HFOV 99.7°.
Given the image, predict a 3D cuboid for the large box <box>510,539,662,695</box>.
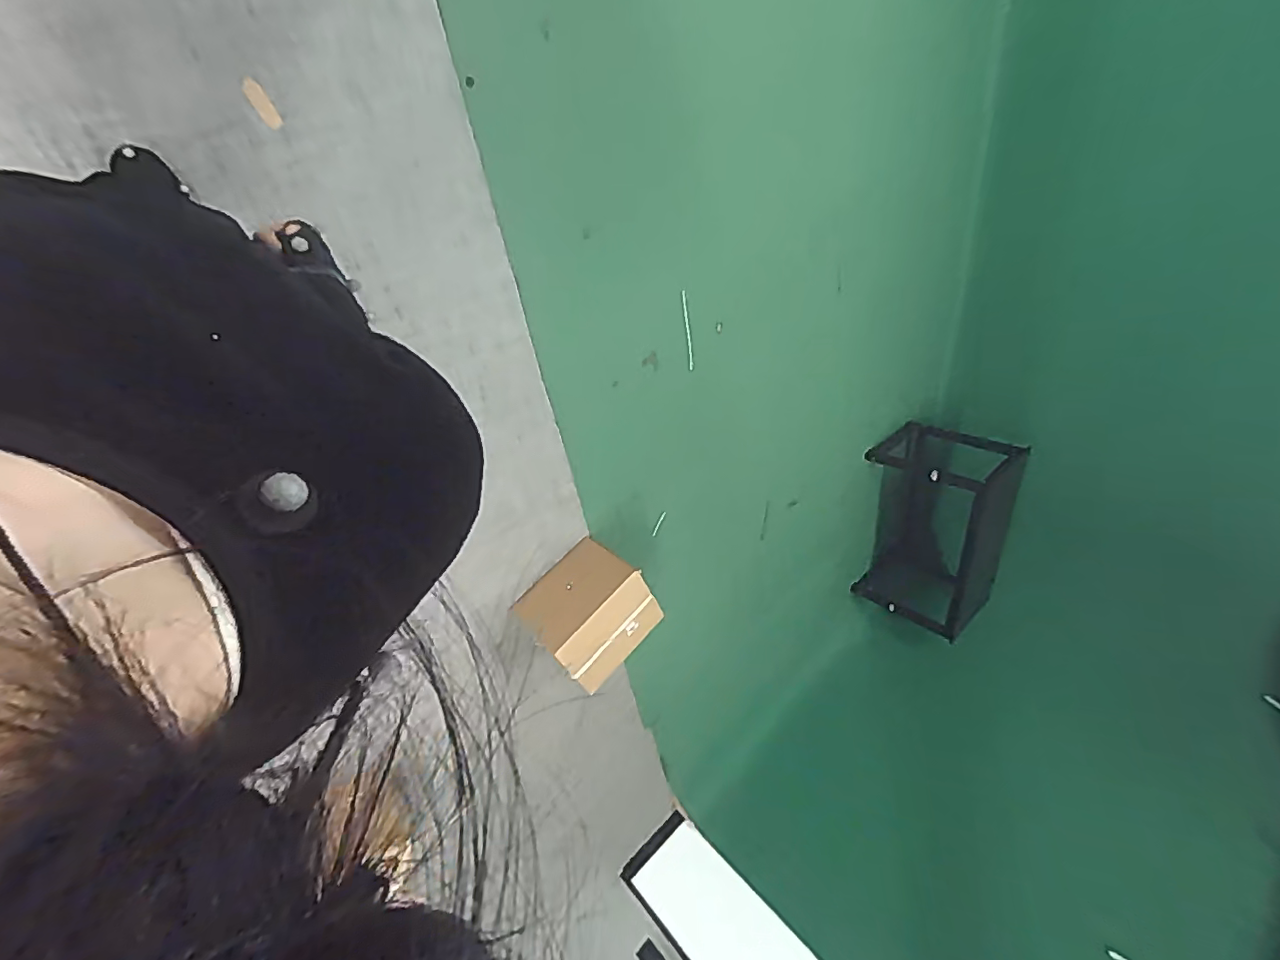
[{"bbox_3d":[-0.197,0.500,2.016,0.408,0.320,0.320,-45,134,-21],"label":"large box"}]
